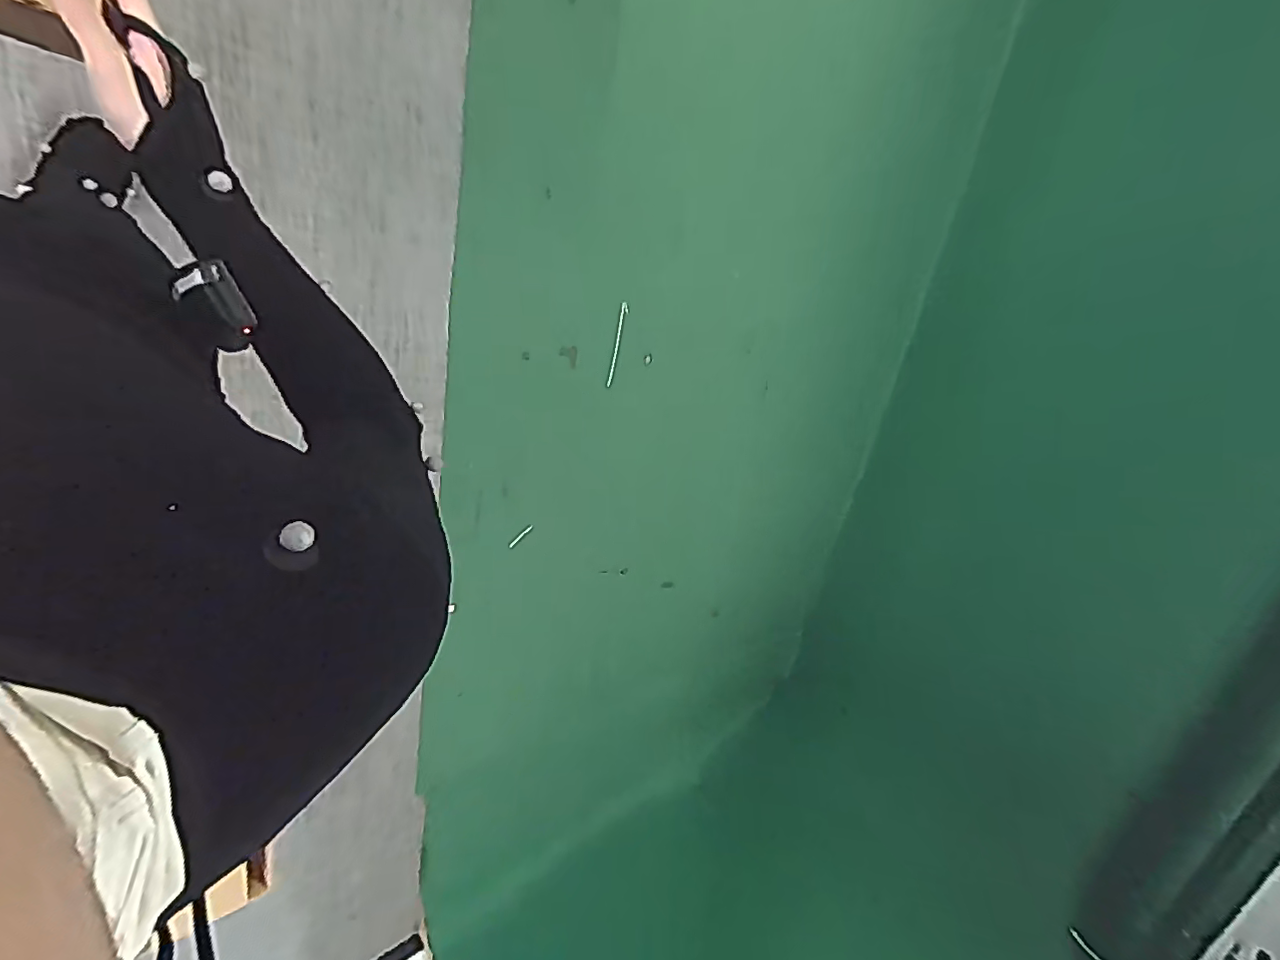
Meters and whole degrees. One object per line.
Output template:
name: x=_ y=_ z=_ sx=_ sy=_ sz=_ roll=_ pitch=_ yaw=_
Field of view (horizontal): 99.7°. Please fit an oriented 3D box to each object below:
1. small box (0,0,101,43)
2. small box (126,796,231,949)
small box: x=-0.480 y=-0.437 z=0.355 sx=0.168 sy=0.176 sz=0.179 roll=-5 pitch=114 yaw=-46
small box: x=-1.012 y=0.848 z=1.187 sx=0.168 sy=0.176 sz=0.179 roll=-4 pitch=115 yaw=-44
